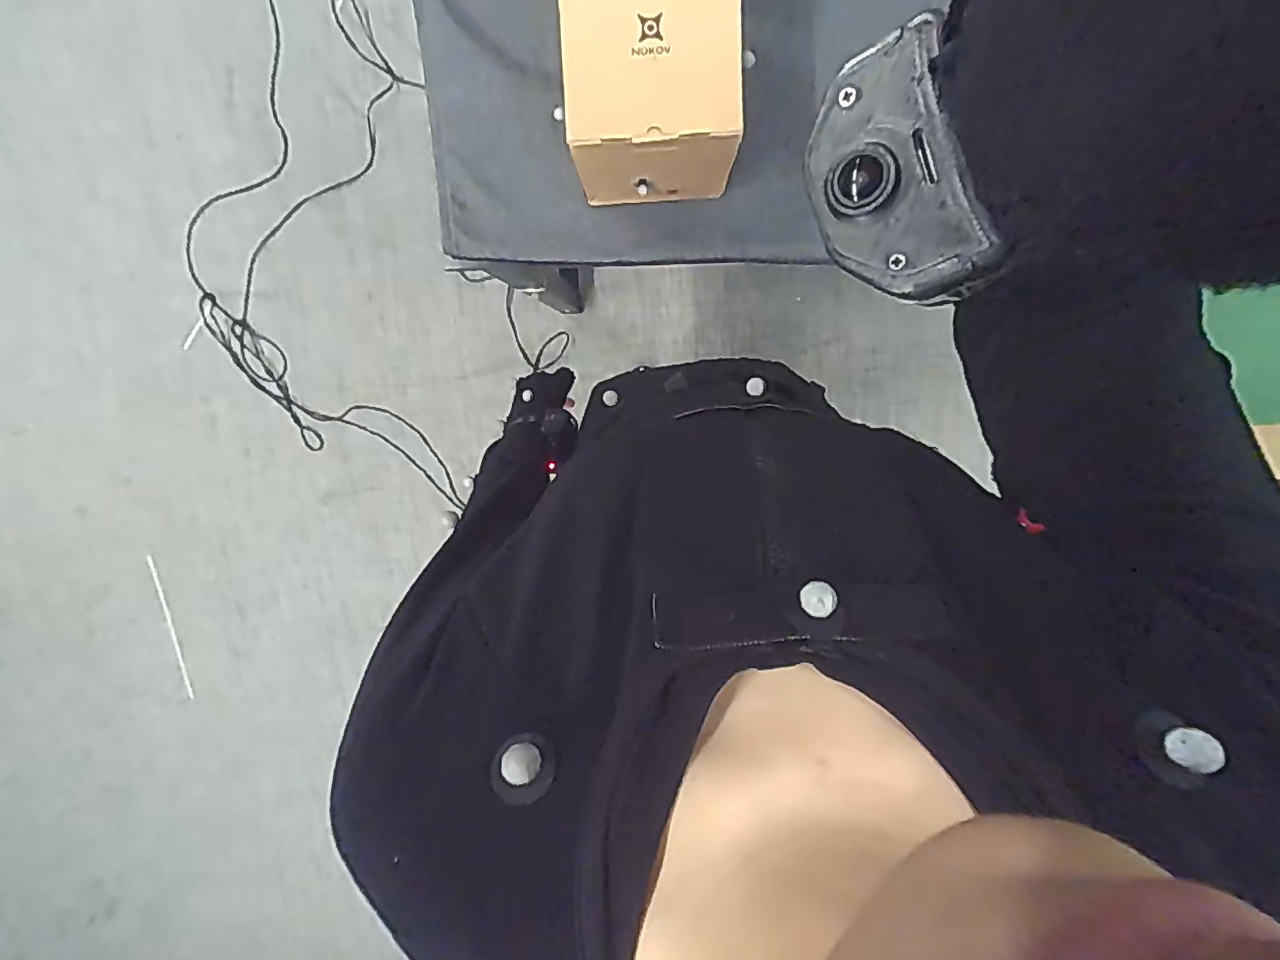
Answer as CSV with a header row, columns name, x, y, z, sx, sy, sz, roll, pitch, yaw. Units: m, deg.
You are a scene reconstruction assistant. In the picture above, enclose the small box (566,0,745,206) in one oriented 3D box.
name,x,y,z,sx,sy,sz,roll,pitch,yaw
small box,0.016,-0.415,0.575,0.168,0.176,0.179,-3,99,2
